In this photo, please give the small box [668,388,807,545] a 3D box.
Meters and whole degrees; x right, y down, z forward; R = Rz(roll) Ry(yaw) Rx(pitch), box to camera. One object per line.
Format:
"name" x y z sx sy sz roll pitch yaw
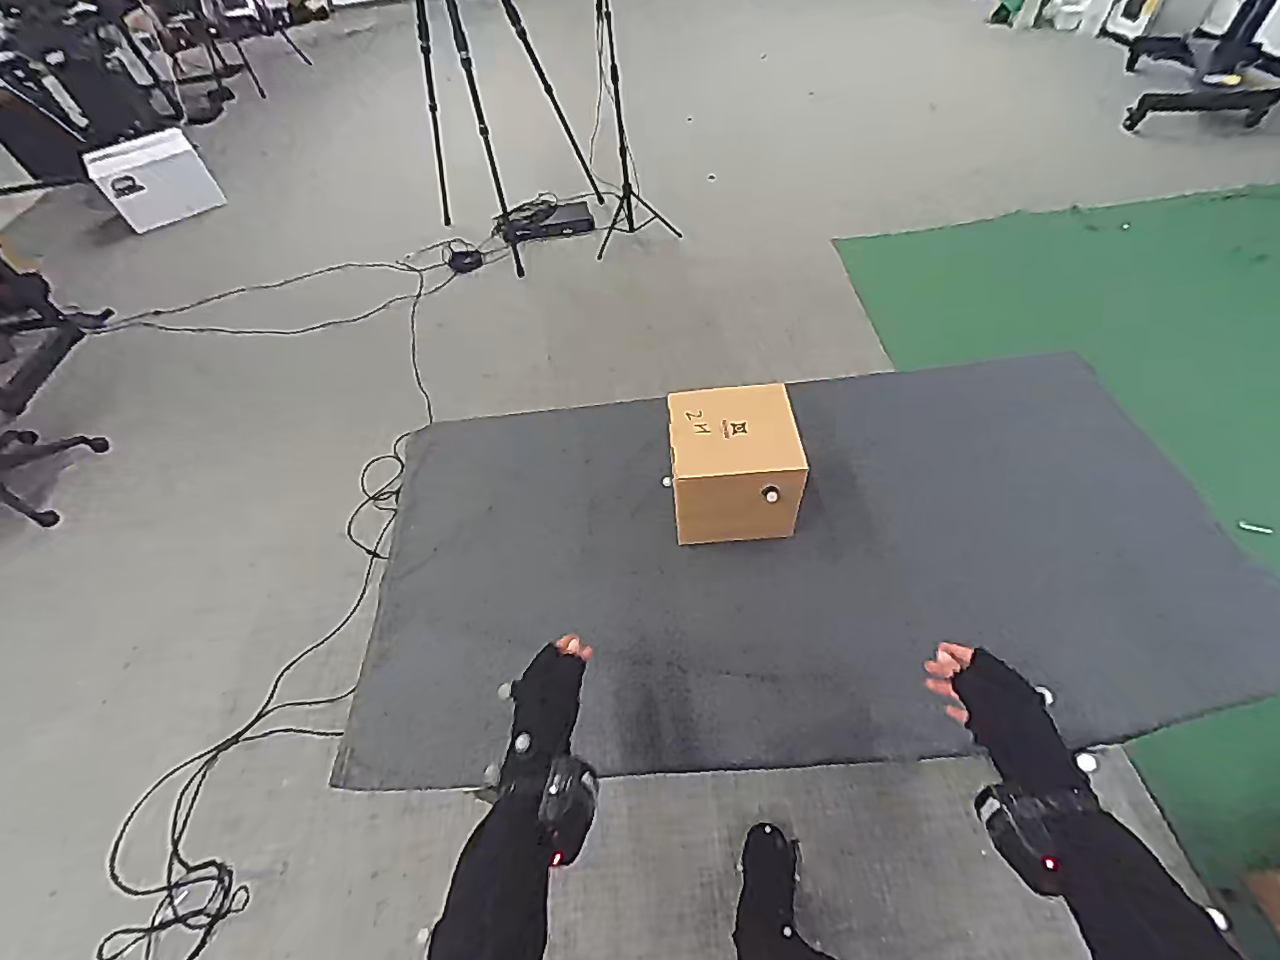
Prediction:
"small box" 0.135 -0.016 0.812 0.179 0.176 0.168 -4 52 3
